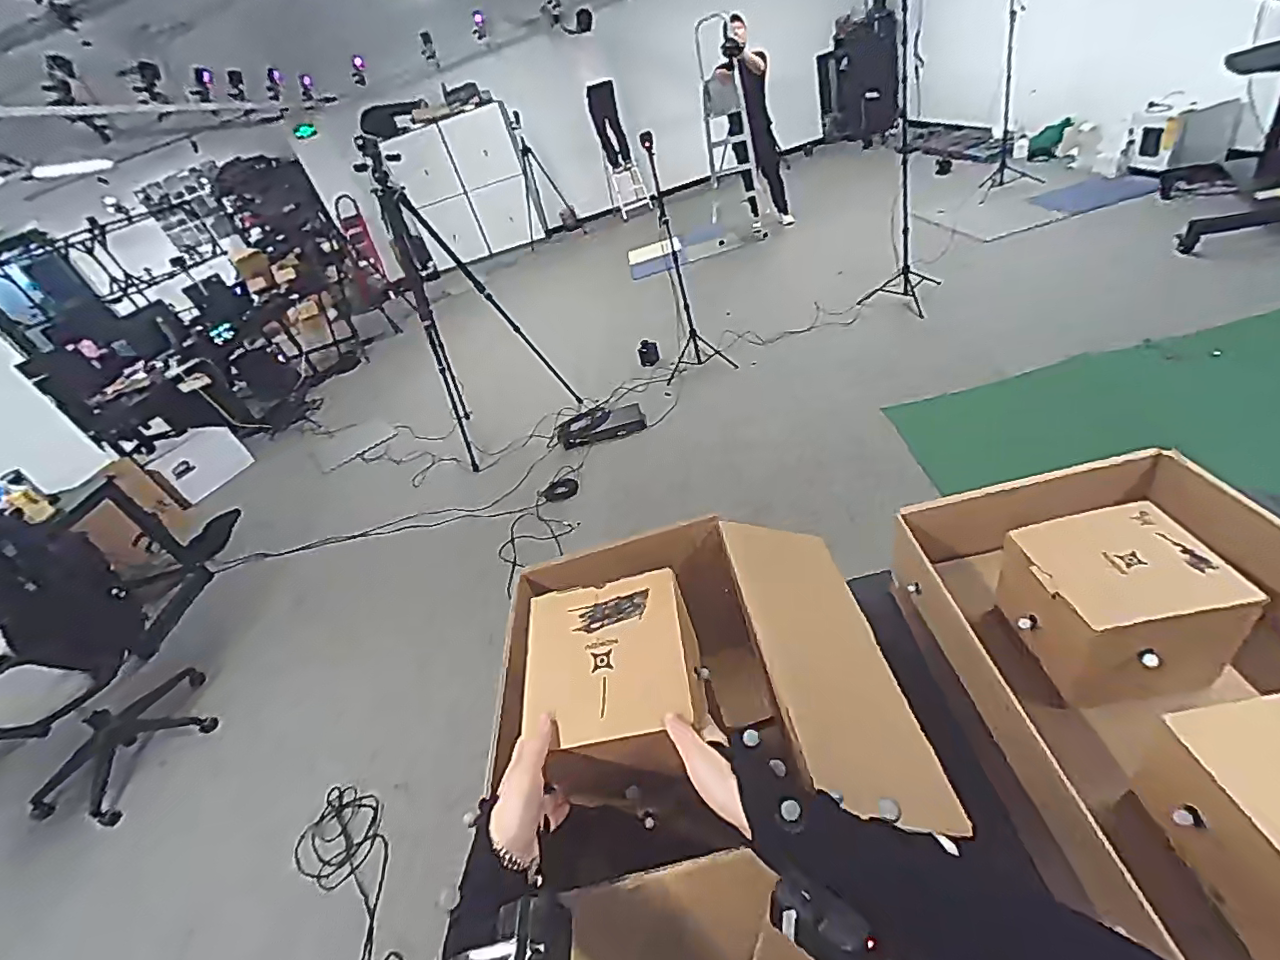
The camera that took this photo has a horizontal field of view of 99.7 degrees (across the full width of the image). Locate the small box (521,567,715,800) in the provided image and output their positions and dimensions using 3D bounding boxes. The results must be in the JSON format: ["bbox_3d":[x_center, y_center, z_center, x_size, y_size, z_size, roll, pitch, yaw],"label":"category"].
[{"bbox_3d":[-0.020,0.228,0.603,0.168,0.176,0.179,-14,45,6],"label":"small box"}]
